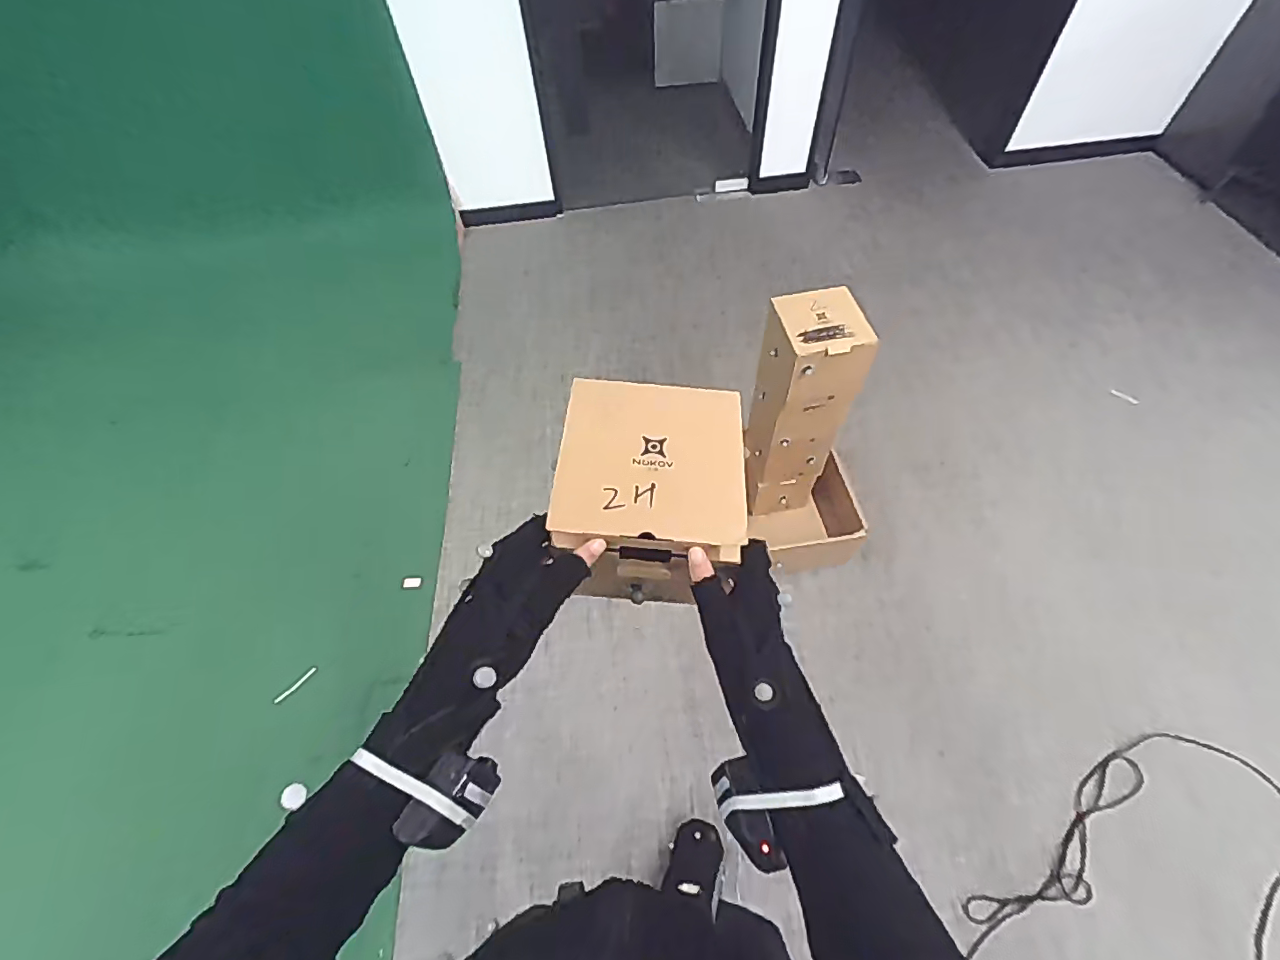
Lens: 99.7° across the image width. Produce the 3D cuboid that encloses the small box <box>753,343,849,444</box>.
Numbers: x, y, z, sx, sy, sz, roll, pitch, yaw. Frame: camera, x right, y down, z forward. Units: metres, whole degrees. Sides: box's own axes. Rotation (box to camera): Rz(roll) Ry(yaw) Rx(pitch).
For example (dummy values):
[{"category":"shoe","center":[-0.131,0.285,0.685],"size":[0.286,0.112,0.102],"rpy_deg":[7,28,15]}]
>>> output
[{"category":"small box","center":[0.375,-0.199,1.294],"size":[0.168,0.176,0.179],"rpy_deg":[-7,57,-2]}]

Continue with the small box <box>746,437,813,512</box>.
[{"category":"small box","center":[0.381,-0.023,1.571],"size":[0.168,0.176,0.179],"rpy_deg":[-12,57,-3]}]

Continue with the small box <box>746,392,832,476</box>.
[{"category":"small box","center":[0.384,-0.125,1.421],"size":[0.168,0.176,0.179],"rpy_deg":[-8,57,-1]}]

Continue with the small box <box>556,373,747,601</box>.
[{"category":"small box","center":[0.012,0.014,0.563],"size":[0.168,0.176,0.179],"rpy_deg":[5,65,0]}]
